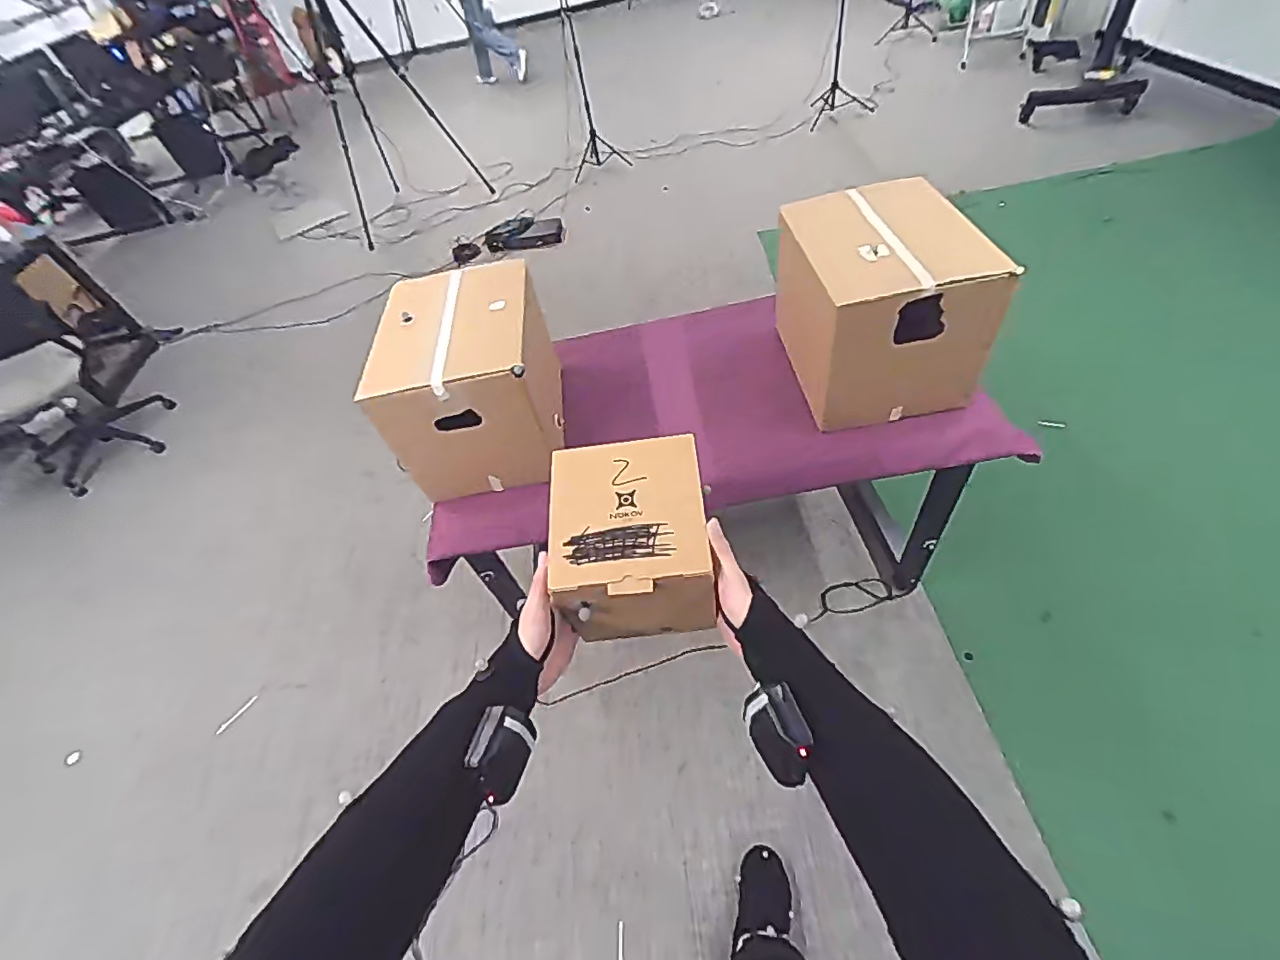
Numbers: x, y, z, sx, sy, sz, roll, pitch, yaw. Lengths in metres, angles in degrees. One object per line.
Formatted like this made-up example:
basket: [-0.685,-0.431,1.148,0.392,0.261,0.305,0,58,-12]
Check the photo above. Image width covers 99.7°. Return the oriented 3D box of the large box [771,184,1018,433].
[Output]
large box: [0.486,-0.366,1.154,0.320,0.320,0.408,-11,50,4]
